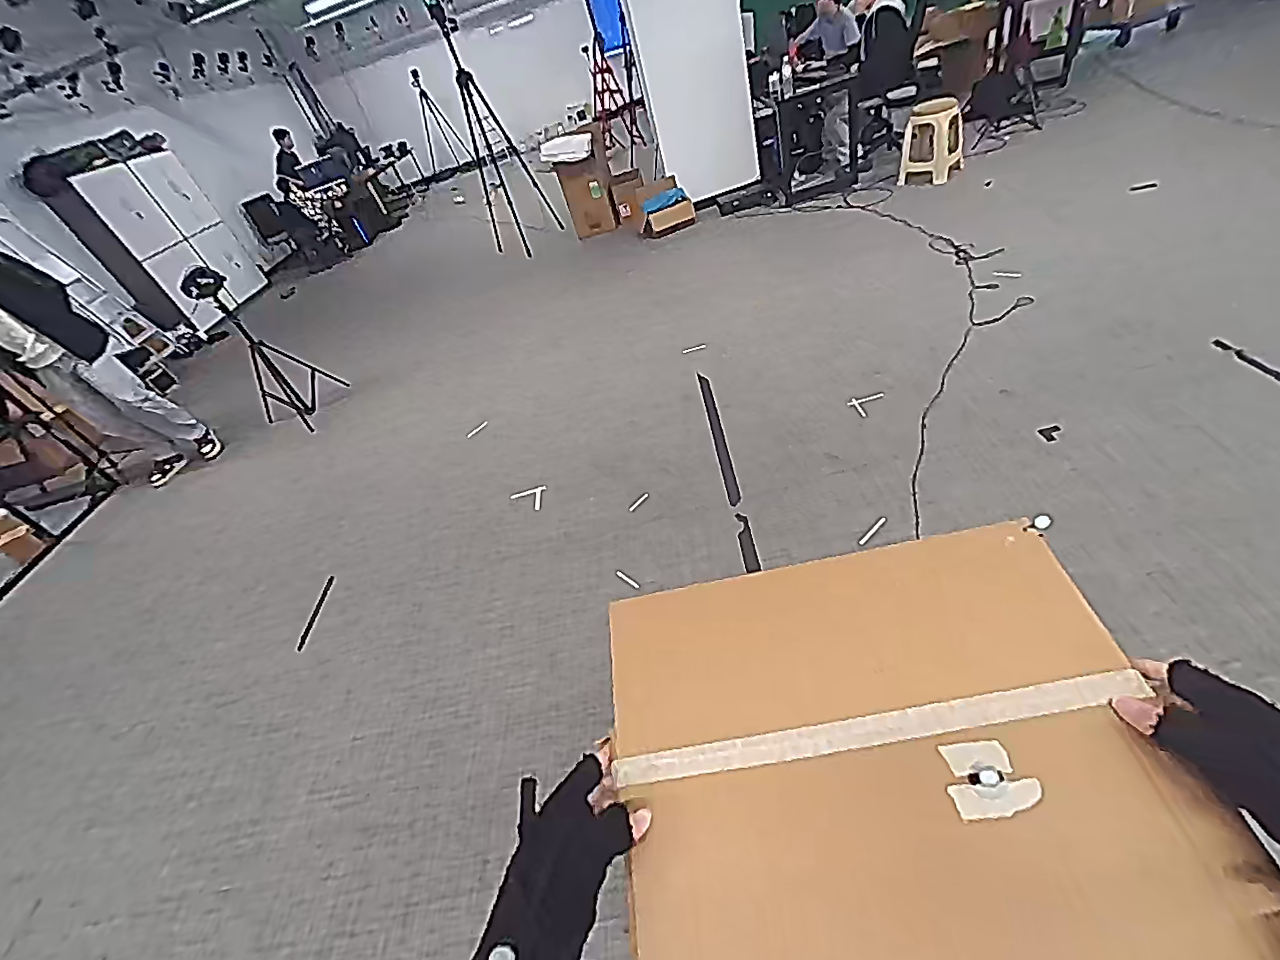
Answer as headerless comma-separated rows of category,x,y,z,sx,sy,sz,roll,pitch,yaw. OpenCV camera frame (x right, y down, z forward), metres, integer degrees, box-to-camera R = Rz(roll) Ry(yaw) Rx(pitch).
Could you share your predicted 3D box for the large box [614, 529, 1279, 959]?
large box,0.213,0.299,0.547,0.408,0.320,0.320,-13,49,6
